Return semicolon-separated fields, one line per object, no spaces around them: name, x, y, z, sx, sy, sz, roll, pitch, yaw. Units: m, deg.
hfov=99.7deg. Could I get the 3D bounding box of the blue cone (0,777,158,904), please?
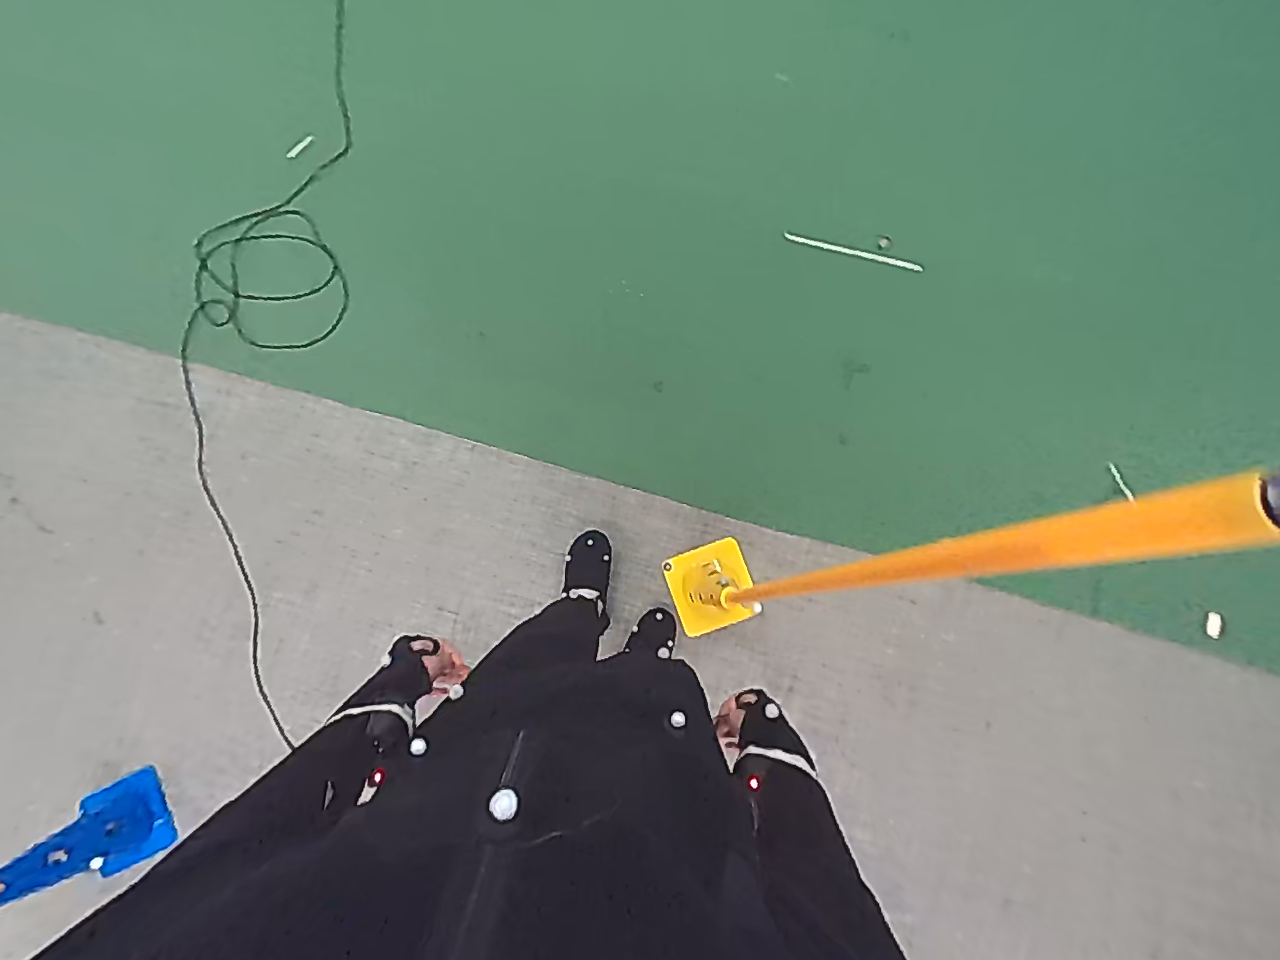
blue cone;-1.257;0.813;1.120;0.193;0.380;0.192;-28;83;0
